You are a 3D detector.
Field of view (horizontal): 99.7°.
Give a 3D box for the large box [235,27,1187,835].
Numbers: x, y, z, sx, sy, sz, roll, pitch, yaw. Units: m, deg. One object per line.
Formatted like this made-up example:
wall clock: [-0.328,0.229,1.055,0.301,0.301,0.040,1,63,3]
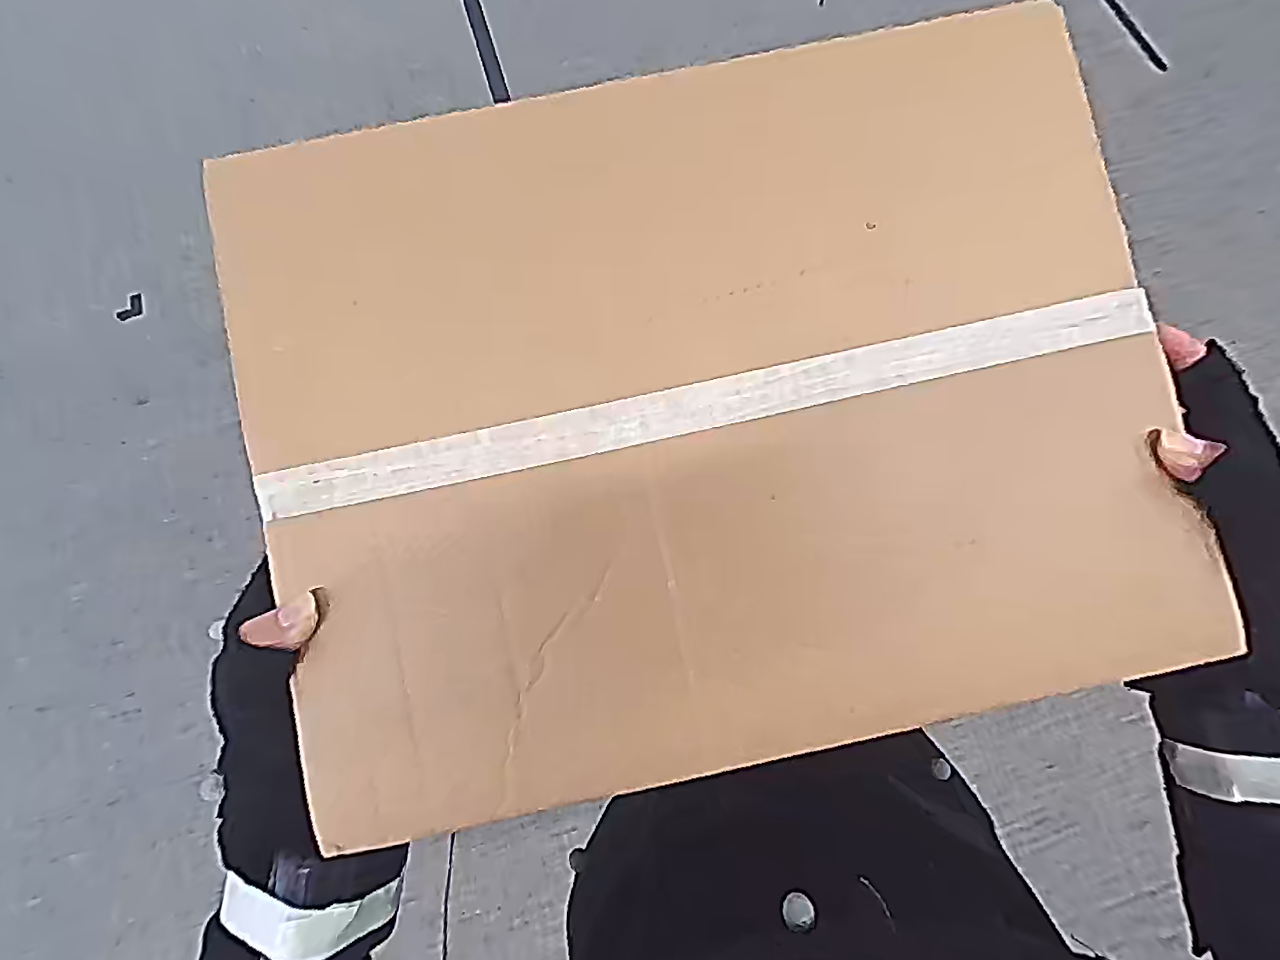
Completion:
large box: [0.031,-0.024,0.402,0.408,0.320,0.320,-12,86,-1]
